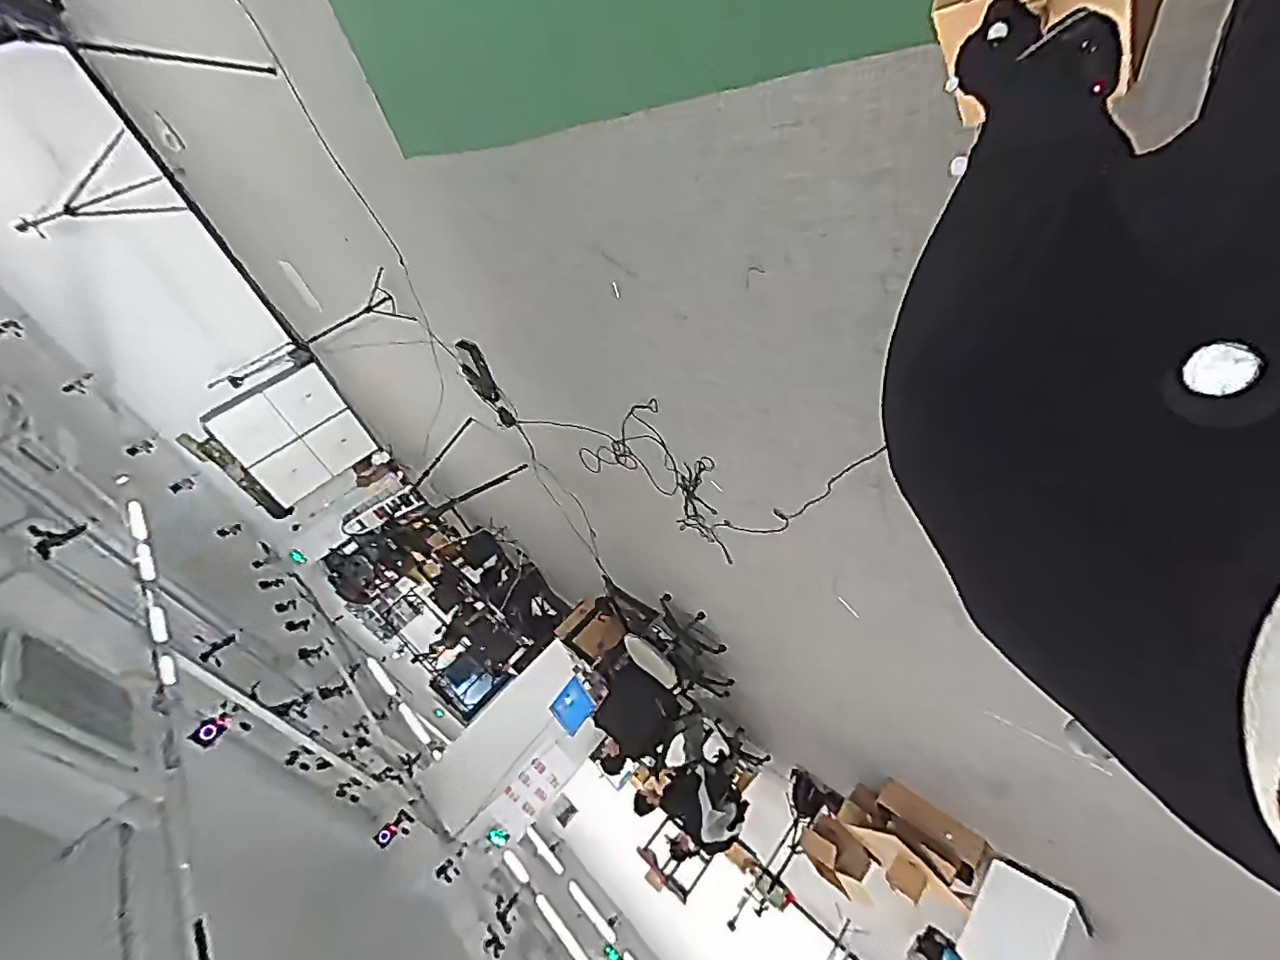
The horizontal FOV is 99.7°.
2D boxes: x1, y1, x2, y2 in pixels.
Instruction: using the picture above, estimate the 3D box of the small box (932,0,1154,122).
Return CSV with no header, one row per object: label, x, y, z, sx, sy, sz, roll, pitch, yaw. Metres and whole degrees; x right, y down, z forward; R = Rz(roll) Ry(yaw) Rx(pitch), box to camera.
small box,0.453,-0.547,0.595,0.168,0.179,0.176,17,177,44
